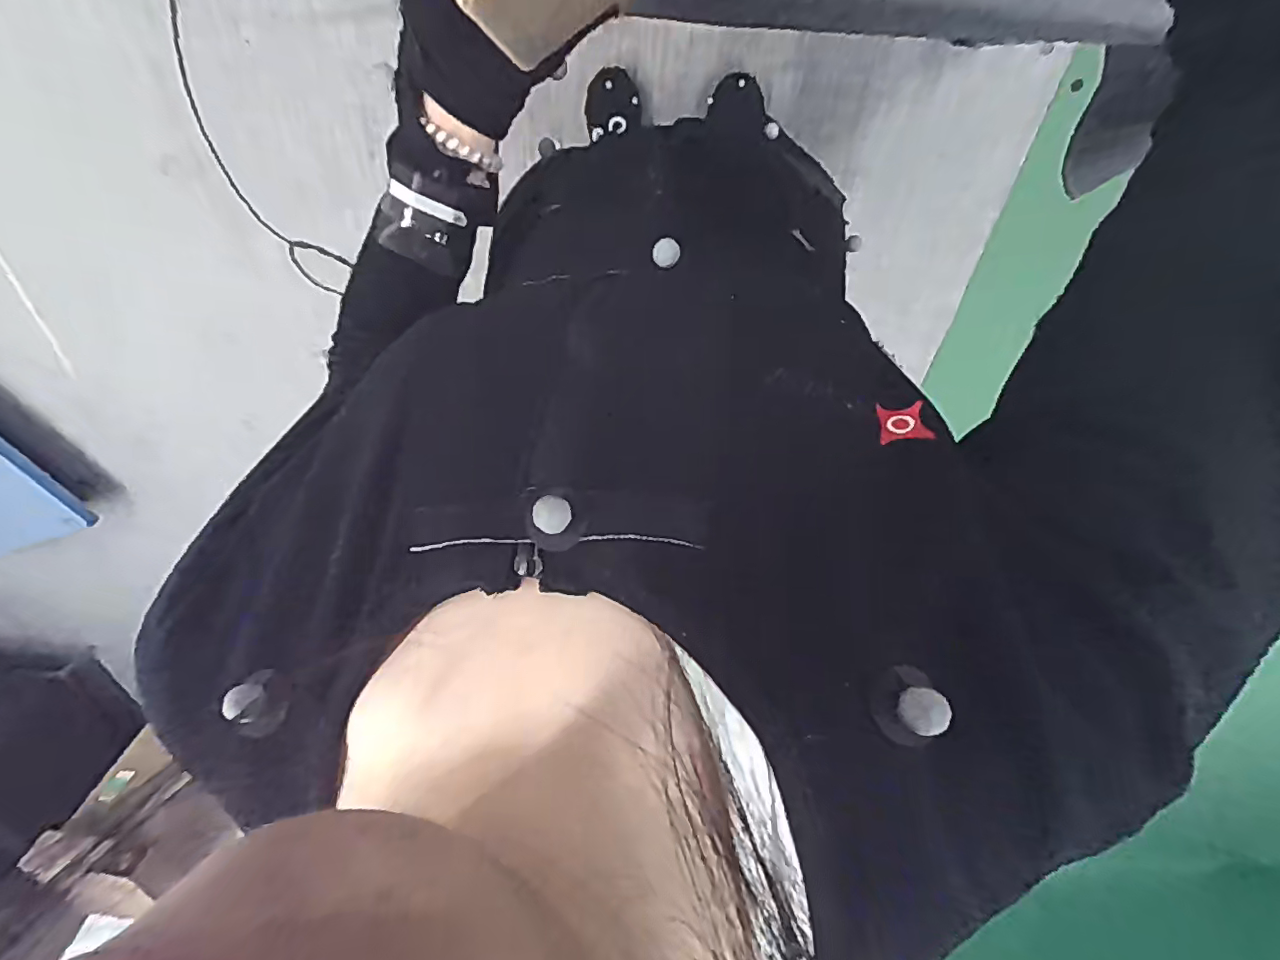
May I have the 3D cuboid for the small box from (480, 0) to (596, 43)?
[{"bbox_3d":[-0.037,-0.313,0.203,0.179,0.176,0.168,-29,119,14],"label":"small box"}]
